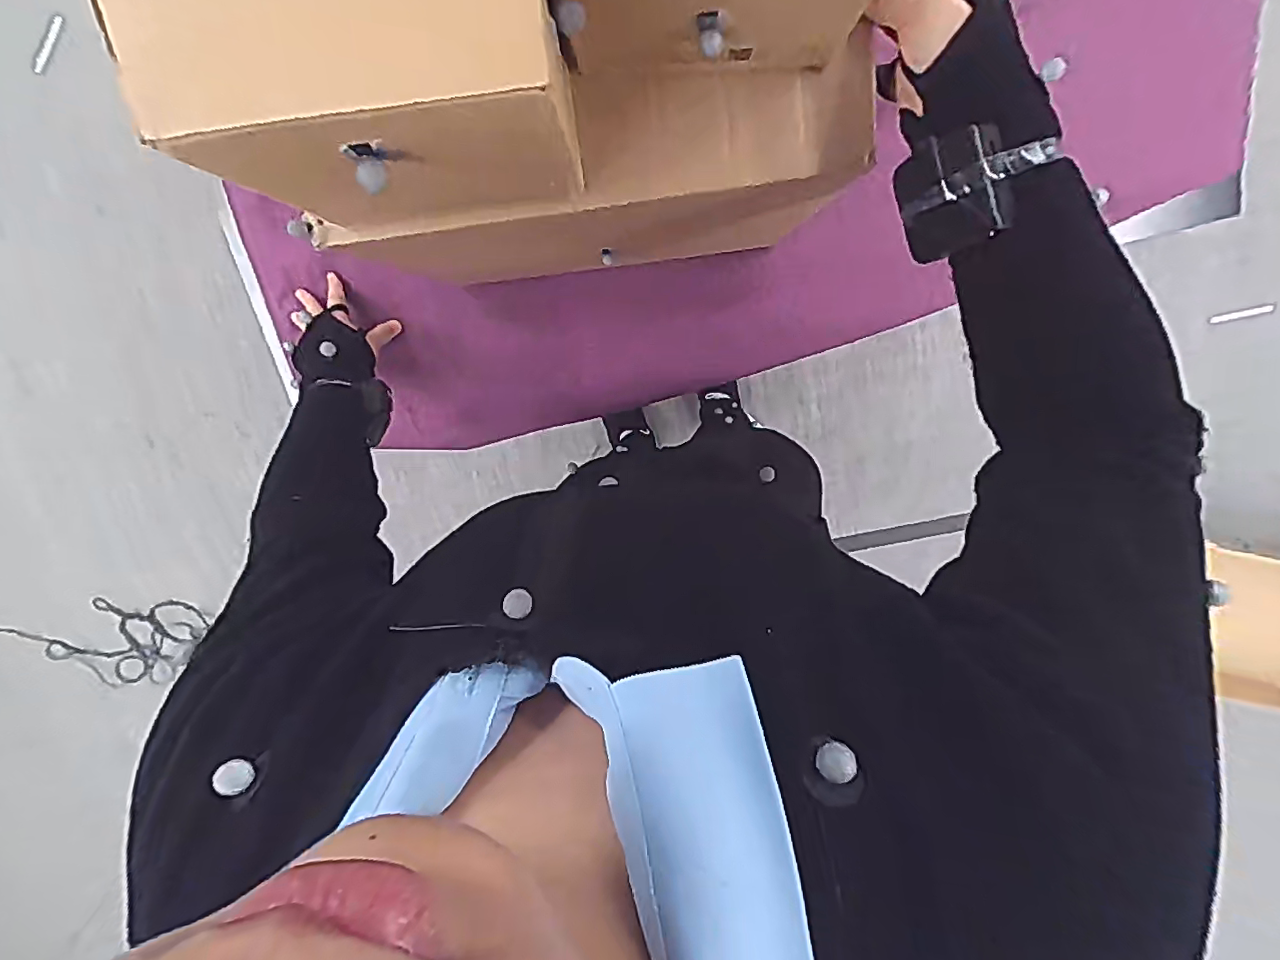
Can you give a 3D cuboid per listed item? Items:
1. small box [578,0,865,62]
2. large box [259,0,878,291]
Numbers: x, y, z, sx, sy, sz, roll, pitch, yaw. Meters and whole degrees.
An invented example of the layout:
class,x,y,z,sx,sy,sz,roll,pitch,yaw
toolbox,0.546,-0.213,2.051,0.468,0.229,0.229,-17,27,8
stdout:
class,x,y,z,sx,sy,sz,roll,pitch,yaw
small box,0.041,-0.334,0.247,0.168,0.176,0.179,-1,104,2
large box,-0.051,-0.373,0.491,0.408,0.320,0.320,-8,102,3
